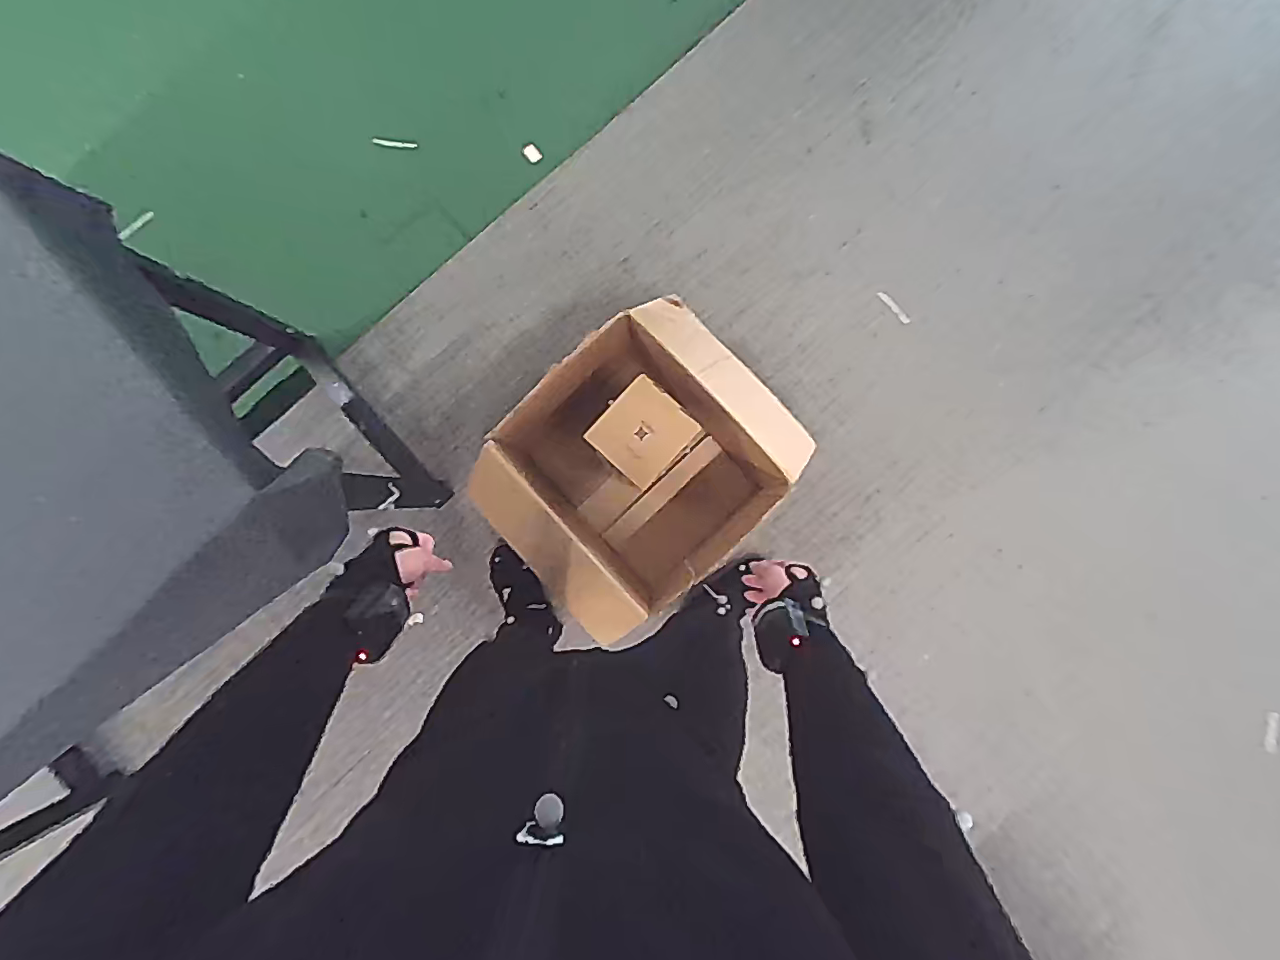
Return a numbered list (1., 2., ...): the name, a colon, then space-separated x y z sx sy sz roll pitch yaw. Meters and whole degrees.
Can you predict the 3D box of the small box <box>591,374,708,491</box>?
1. small box: 0.018 -0.094 1.141 0.168 0.176 0.179 42 91 1
